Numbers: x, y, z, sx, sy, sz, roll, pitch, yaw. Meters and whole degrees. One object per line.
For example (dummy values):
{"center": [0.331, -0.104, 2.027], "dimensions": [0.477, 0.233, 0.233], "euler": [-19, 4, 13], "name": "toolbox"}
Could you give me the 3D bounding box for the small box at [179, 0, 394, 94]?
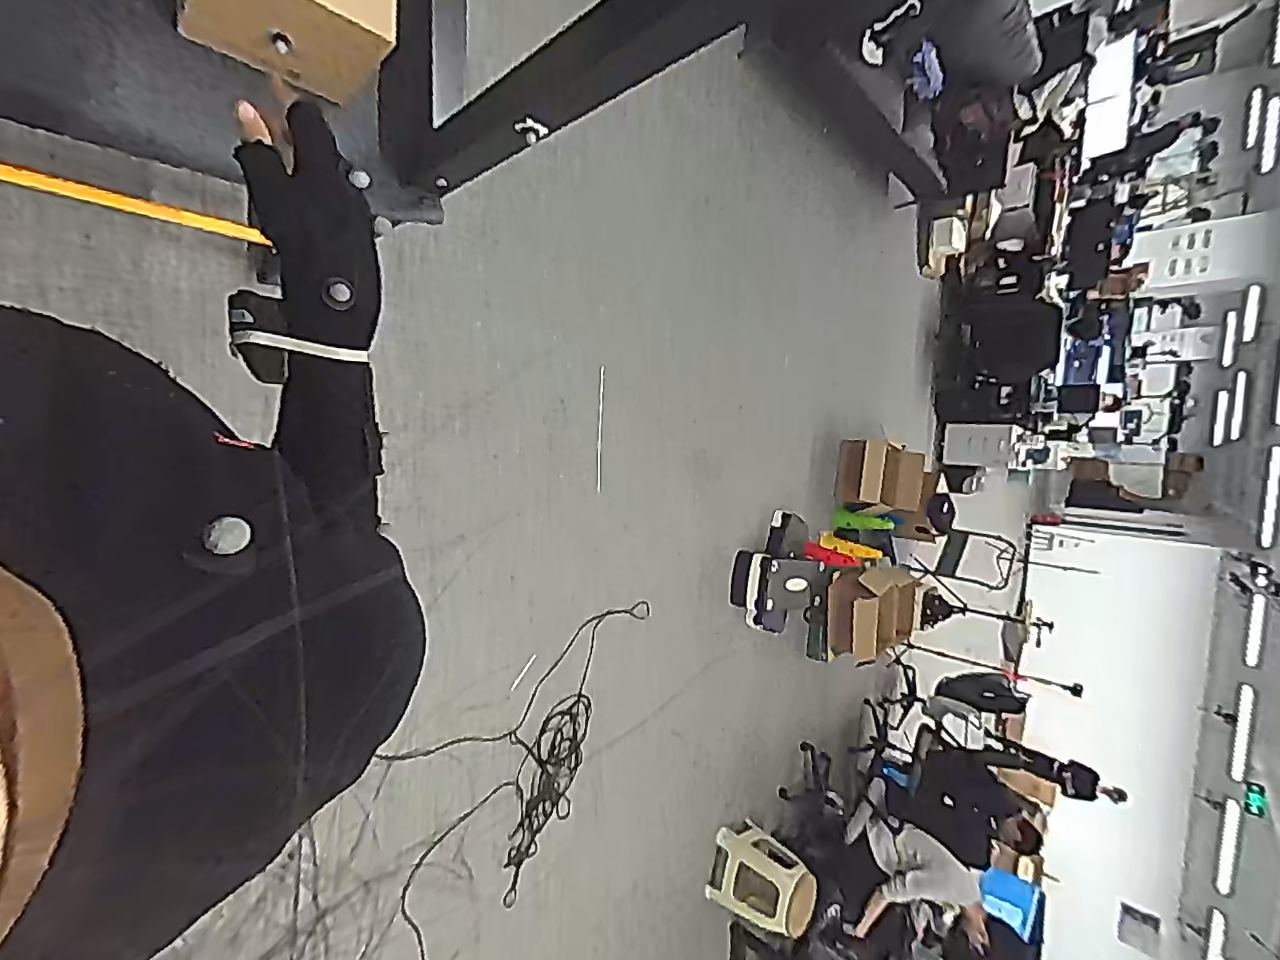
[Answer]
{"center": [-0.380, -0.564, 0.579], "dimensions": [0.168, 0.176, 0.179], "euler": [-3, 96, -47], "name": "small box"}
